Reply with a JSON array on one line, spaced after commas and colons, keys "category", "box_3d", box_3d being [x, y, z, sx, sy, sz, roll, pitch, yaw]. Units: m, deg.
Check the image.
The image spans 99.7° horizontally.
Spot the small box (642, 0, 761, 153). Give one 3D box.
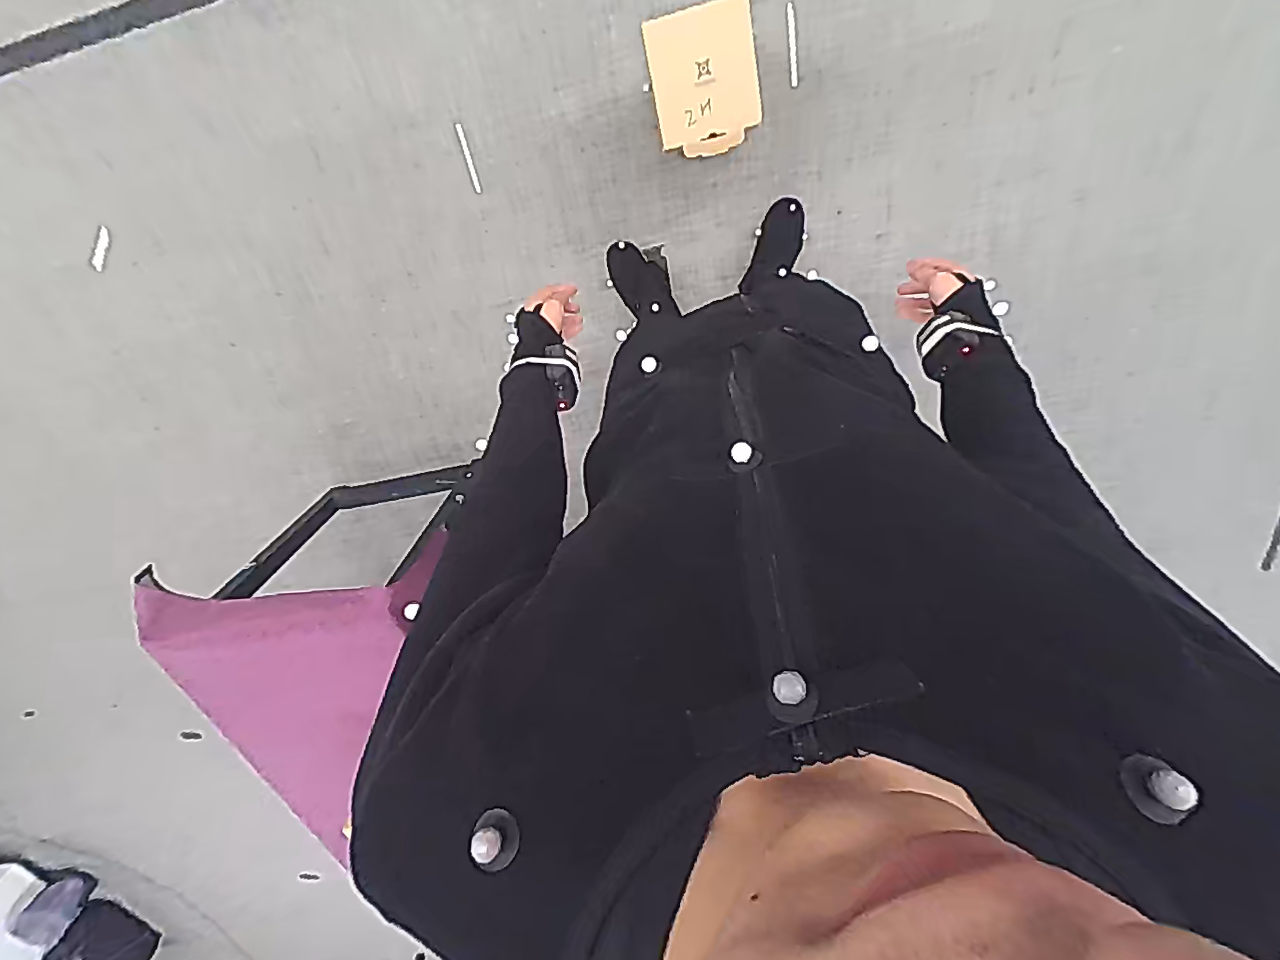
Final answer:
[{"category": "small box", "box_3d": [0.100, -0.676, 0.915, 0.168, 0.176, 0.179, -11, 118, 8]}]
